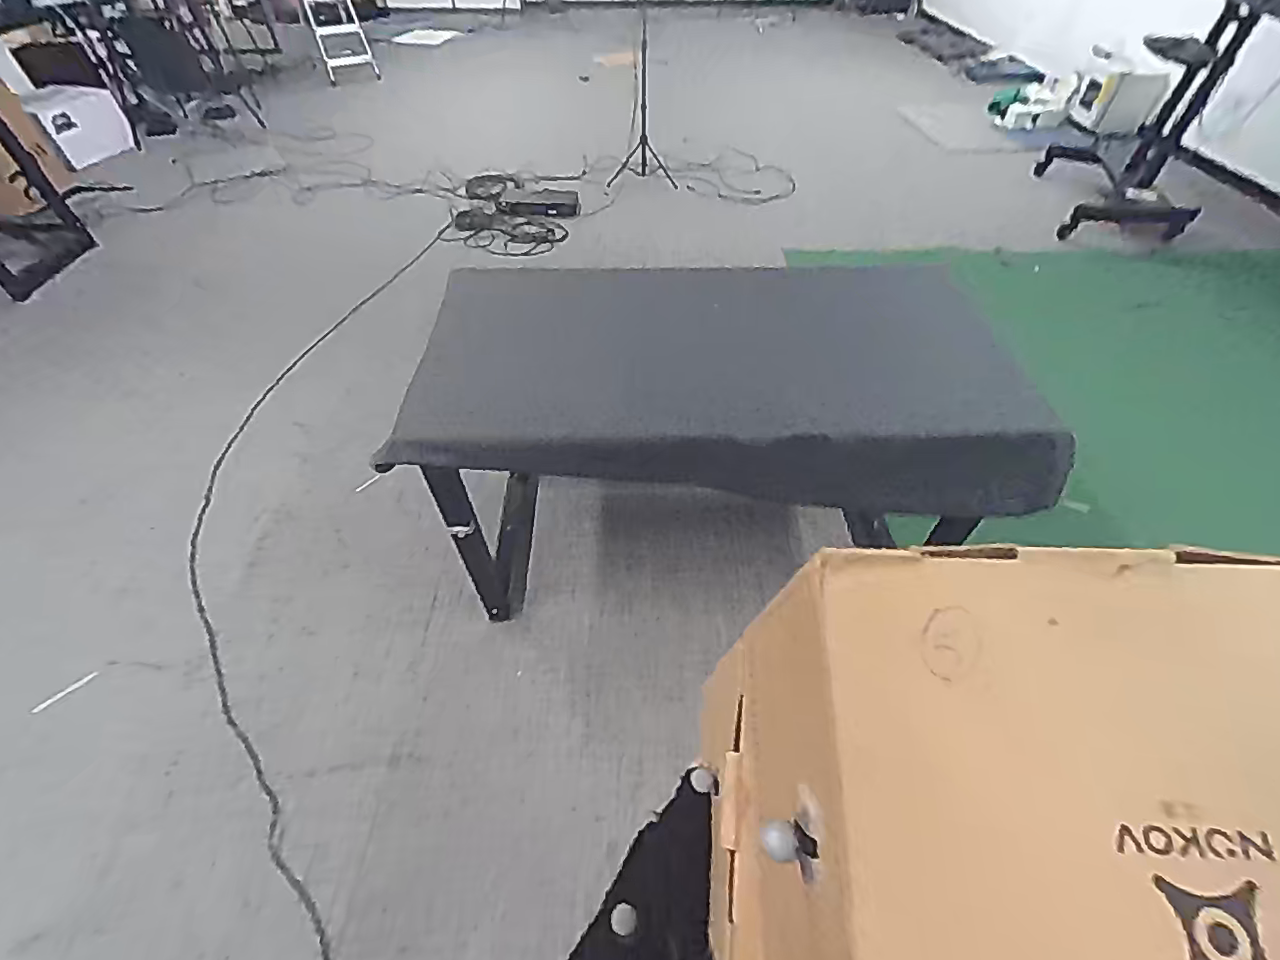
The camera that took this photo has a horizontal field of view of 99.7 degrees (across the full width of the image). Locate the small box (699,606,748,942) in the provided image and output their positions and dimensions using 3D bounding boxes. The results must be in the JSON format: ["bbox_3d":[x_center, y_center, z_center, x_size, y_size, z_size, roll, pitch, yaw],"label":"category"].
[{"bbox_3d":[0.132,0.190,0.361,0.179,0.176,0.168,3,65,3],"label":"small box"}]
